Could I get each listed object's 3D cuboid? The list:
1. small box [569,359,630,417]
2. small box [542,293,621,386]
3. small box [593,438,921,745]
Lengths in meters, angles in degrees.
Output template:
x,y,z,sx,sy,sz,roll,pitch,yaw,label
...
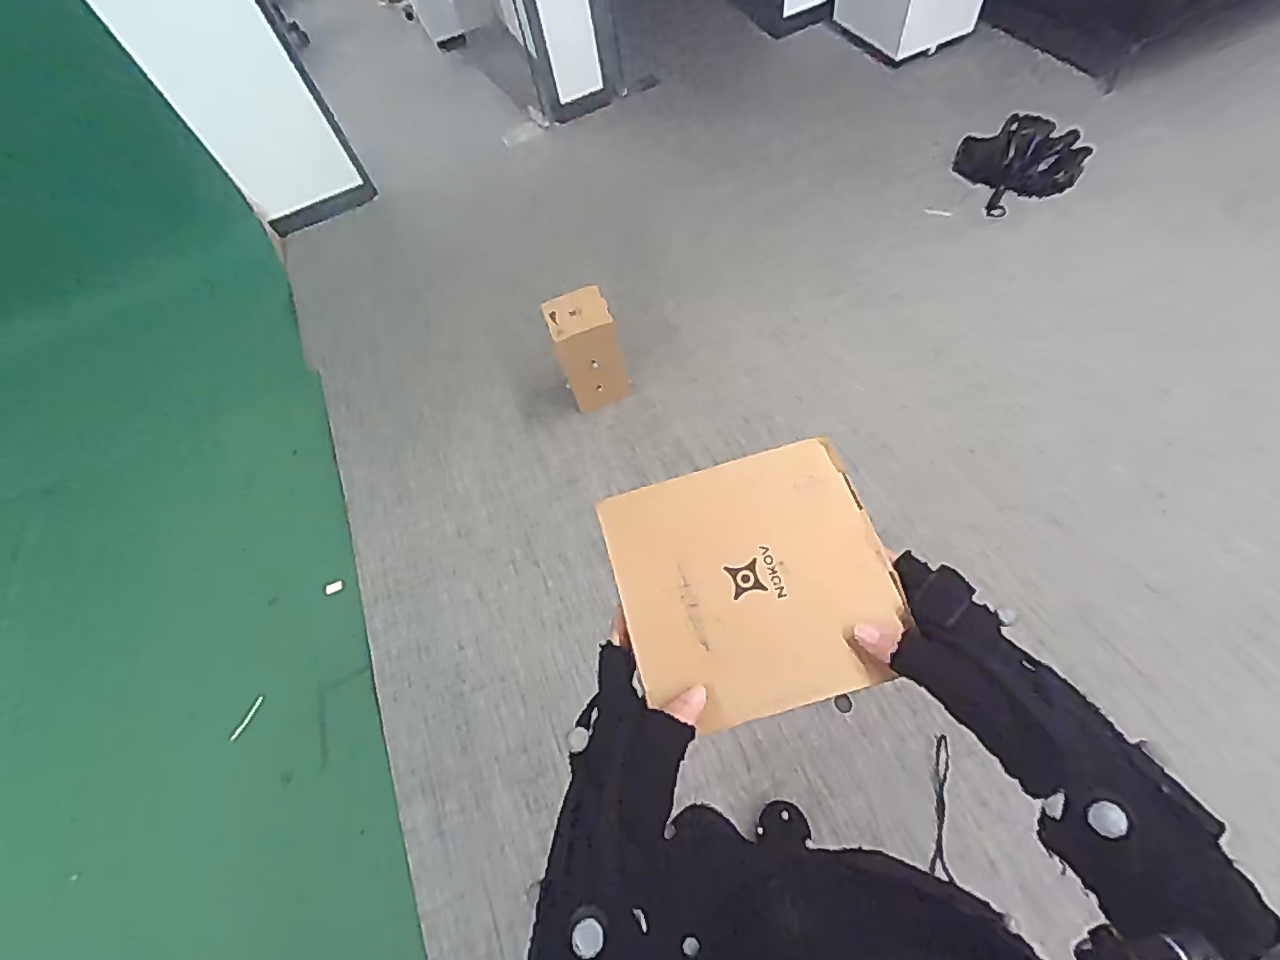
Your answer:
x,y,z,sx,sy,sz,roll,pitch,yaw,label
-0.140,-0.333,1.730,0.179,0.176,0.168,-21,60,-2,small box
-0.163,-0.409,1.590,0.179,0.176,0.168,-23,62,-3,small box
0.077,0.095,0.433,0.179,0.176,0.168,-18,66,0,small box
